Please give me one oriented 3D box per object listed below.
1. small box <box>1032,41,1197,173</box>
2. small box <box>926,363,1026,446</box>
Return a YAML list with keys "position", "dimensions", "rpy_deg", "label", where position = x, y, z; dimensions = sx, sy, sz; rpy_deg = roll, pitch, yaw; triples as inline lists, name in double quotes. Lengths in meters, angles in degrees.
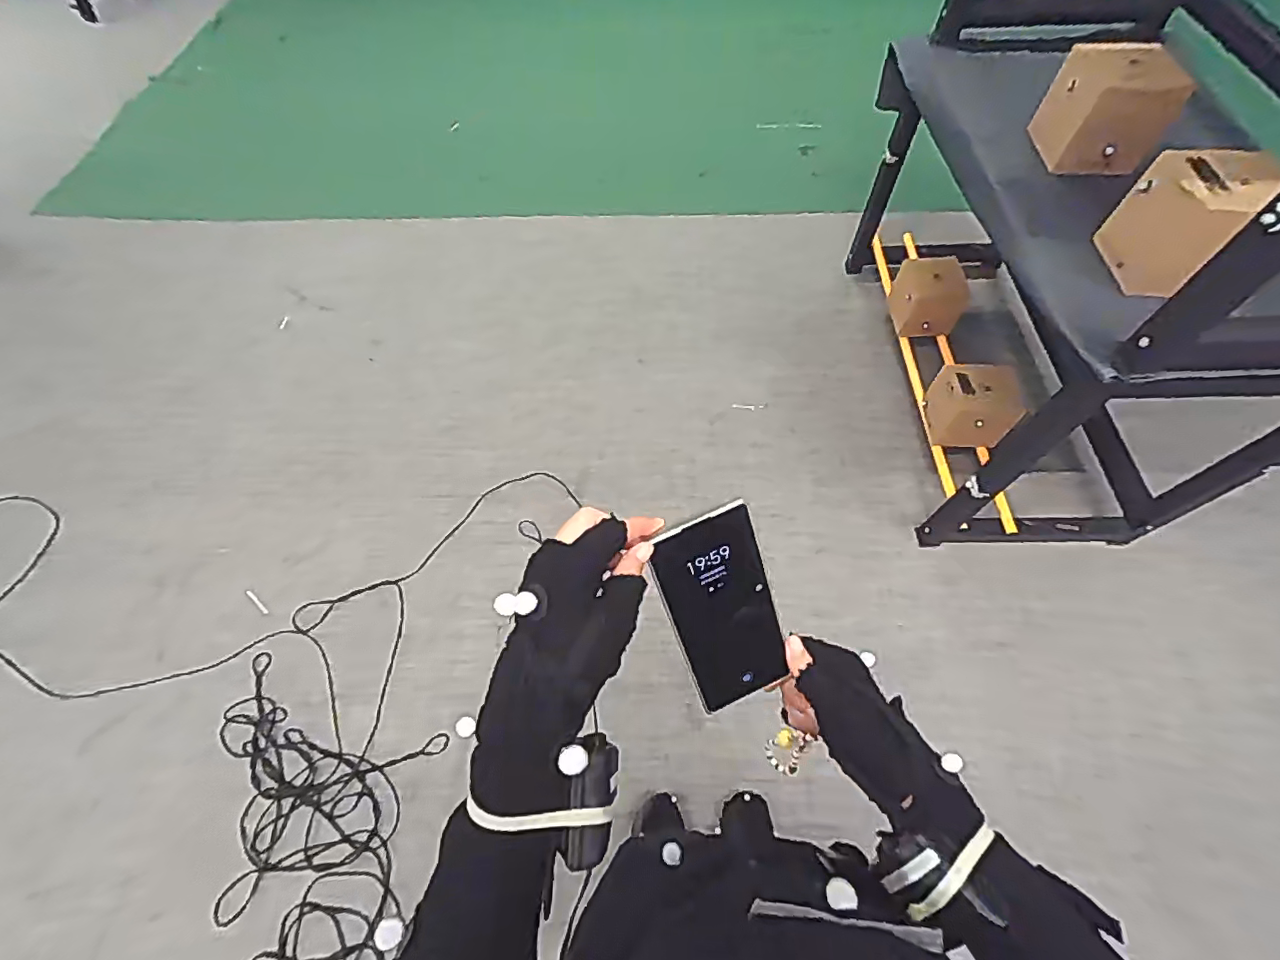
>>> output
- position: [0.956, -0.766, 1.114]
  dimensions: [0.168, 0.176, 0.179]
  rpy_deg: [2, 60, 3]
  label: "small box"
- position: [0.927, -0.208, 1.515]
  dimensions: [0.179, 0.176, 0.168]
  rpy_deg: [2, 61, 4]
  label: "small box"
